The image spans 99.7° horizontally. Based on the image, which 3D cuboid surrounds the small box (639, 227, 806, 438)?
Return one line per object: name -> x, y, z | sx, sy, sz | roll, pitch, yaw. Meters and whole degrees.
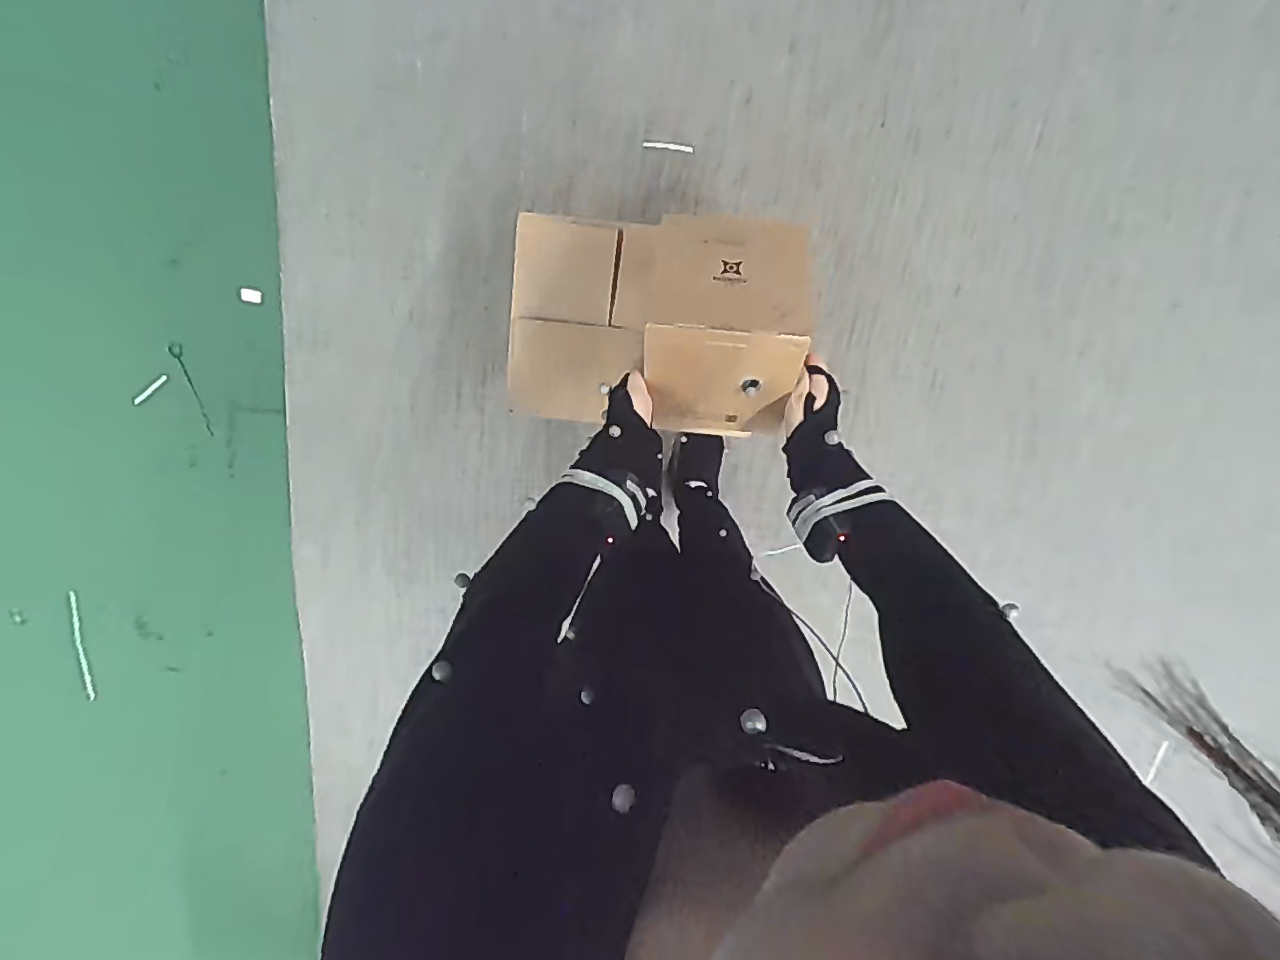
small box -> 0.094, -0.167, 0.636 | 0.168, 0.179, 0.176 | 6, 149, 5
